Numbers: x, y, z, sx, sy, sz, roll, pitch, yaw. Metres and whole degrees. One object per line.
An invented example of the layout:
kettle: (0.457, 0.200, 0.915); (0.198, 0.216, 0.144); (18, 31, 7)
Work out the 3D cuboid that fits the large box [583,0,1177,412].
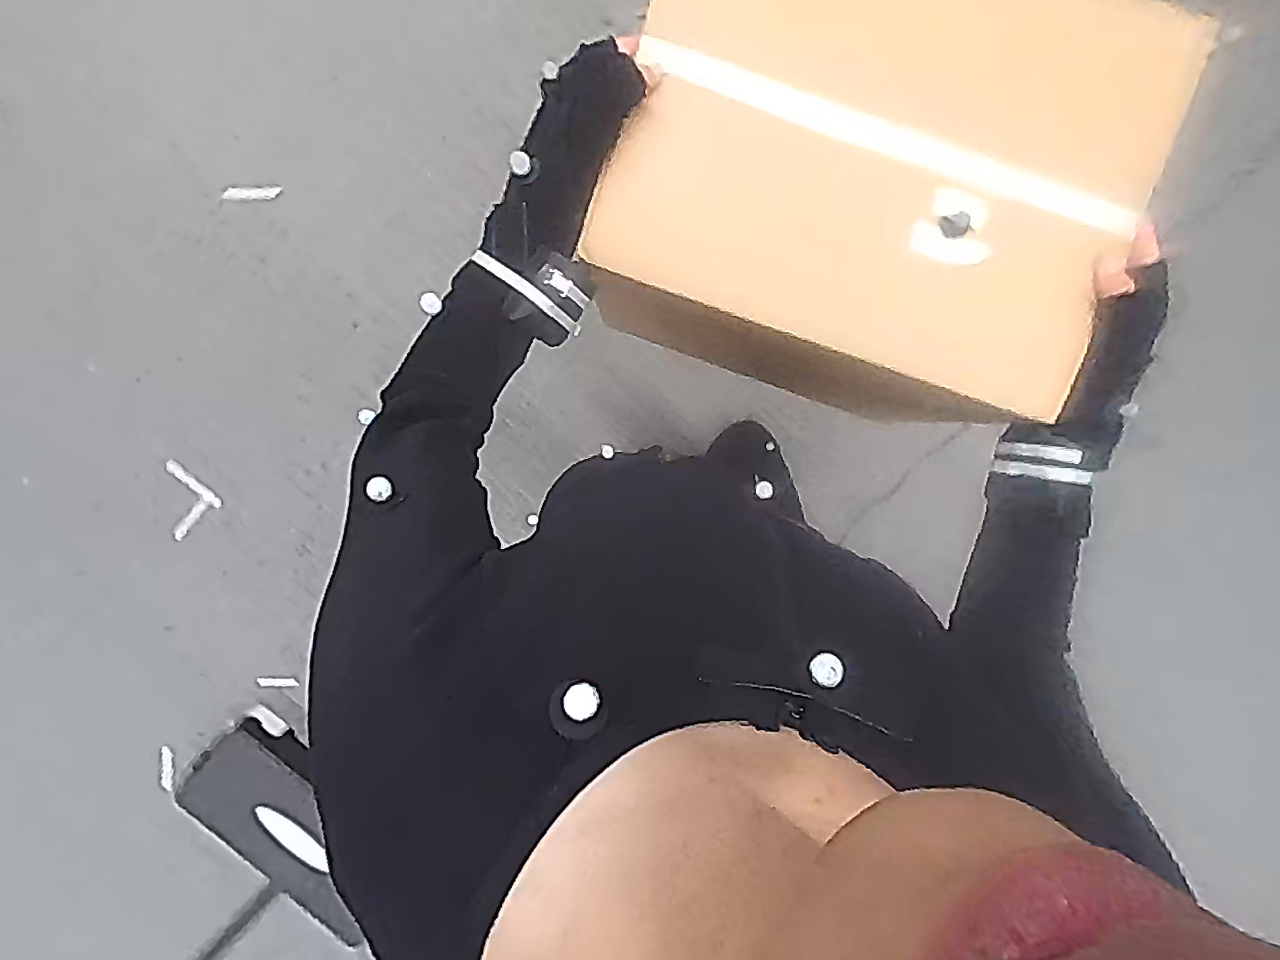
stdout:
large box: (0.182, -0.280, 0.571); (0.408, 0.320, 0.320); (18, 96, -2)
